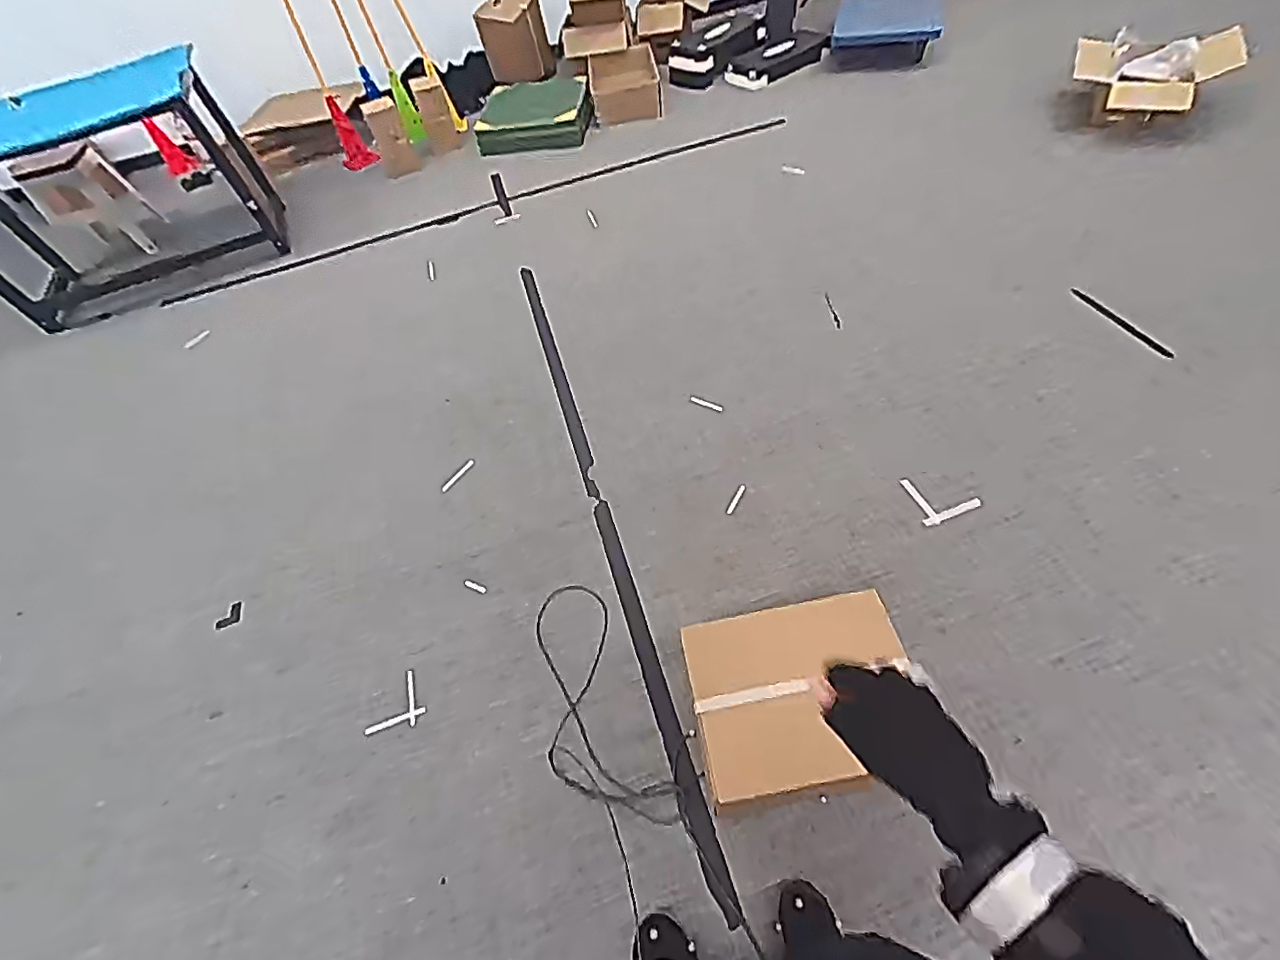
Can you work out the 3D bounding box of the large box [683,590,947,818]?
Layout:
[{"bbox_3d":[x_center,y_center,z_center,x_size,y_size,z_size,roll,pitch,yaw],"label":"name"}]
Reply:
[{"bbox_3d":[0.321,0.471,1.120,0.408,0.320,0.320,-12,54,0],"label":"large box"}]
